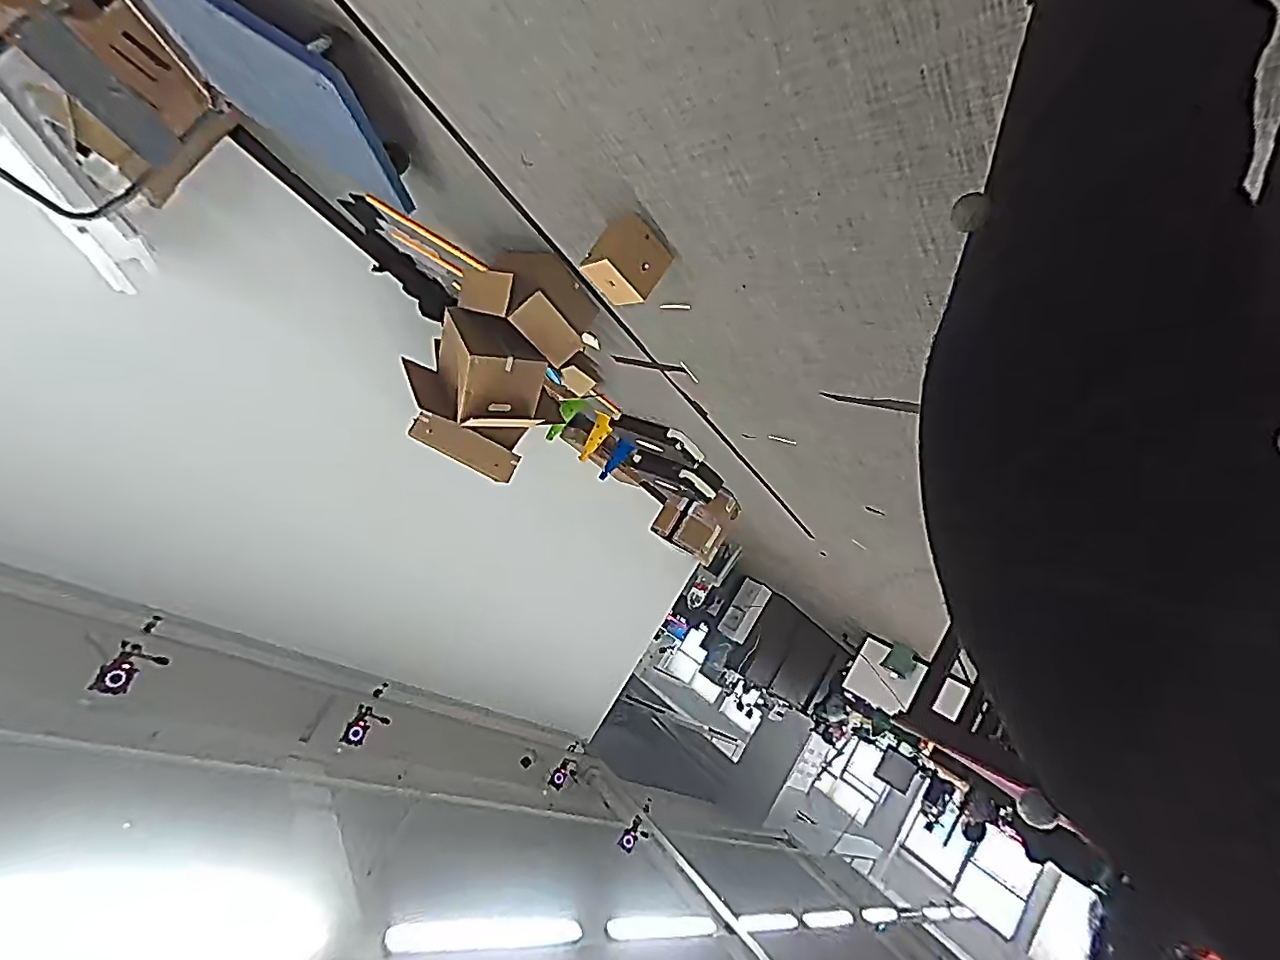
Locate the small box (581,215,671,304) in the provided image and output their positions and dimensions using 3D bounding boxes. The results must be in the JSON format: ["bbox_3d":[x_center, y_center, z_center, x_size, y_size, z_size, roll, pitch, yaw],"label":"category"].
[{"bbox_3d":[-0.034,-0.641,1.578,0.168,0.176,0.179,39,170,-33],"label":"small box"}]
